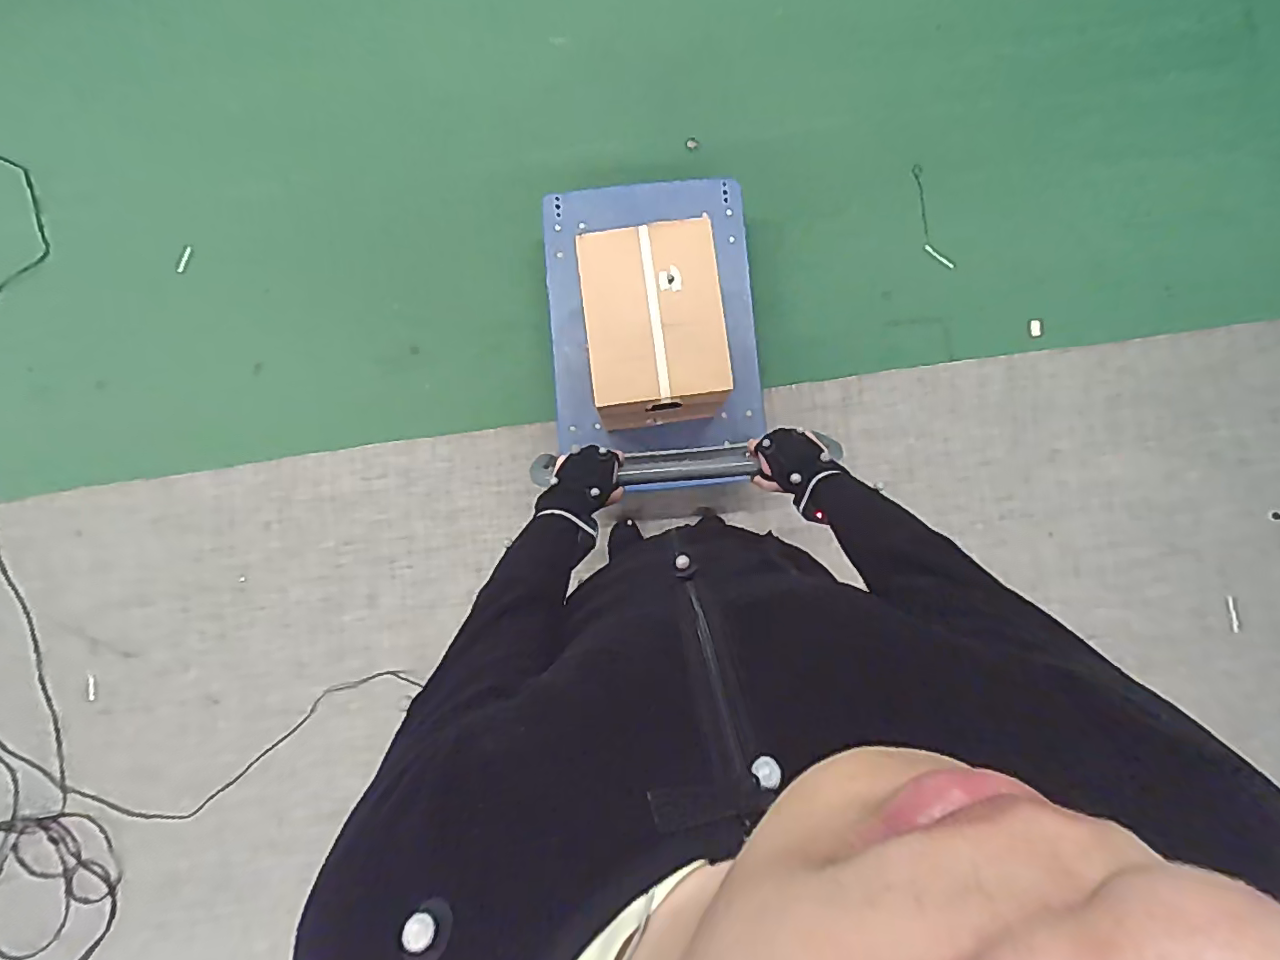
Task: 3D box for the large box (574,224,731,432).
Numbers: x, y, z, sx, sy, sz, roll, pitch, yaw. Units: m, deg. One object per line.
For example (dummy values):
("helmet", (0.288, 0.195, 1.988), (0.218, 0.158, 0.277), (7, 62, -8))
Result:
("large box", (0.031, -0.361, 1.374), (0.320, 0.320, 0.408), (-7, 85, 0))
